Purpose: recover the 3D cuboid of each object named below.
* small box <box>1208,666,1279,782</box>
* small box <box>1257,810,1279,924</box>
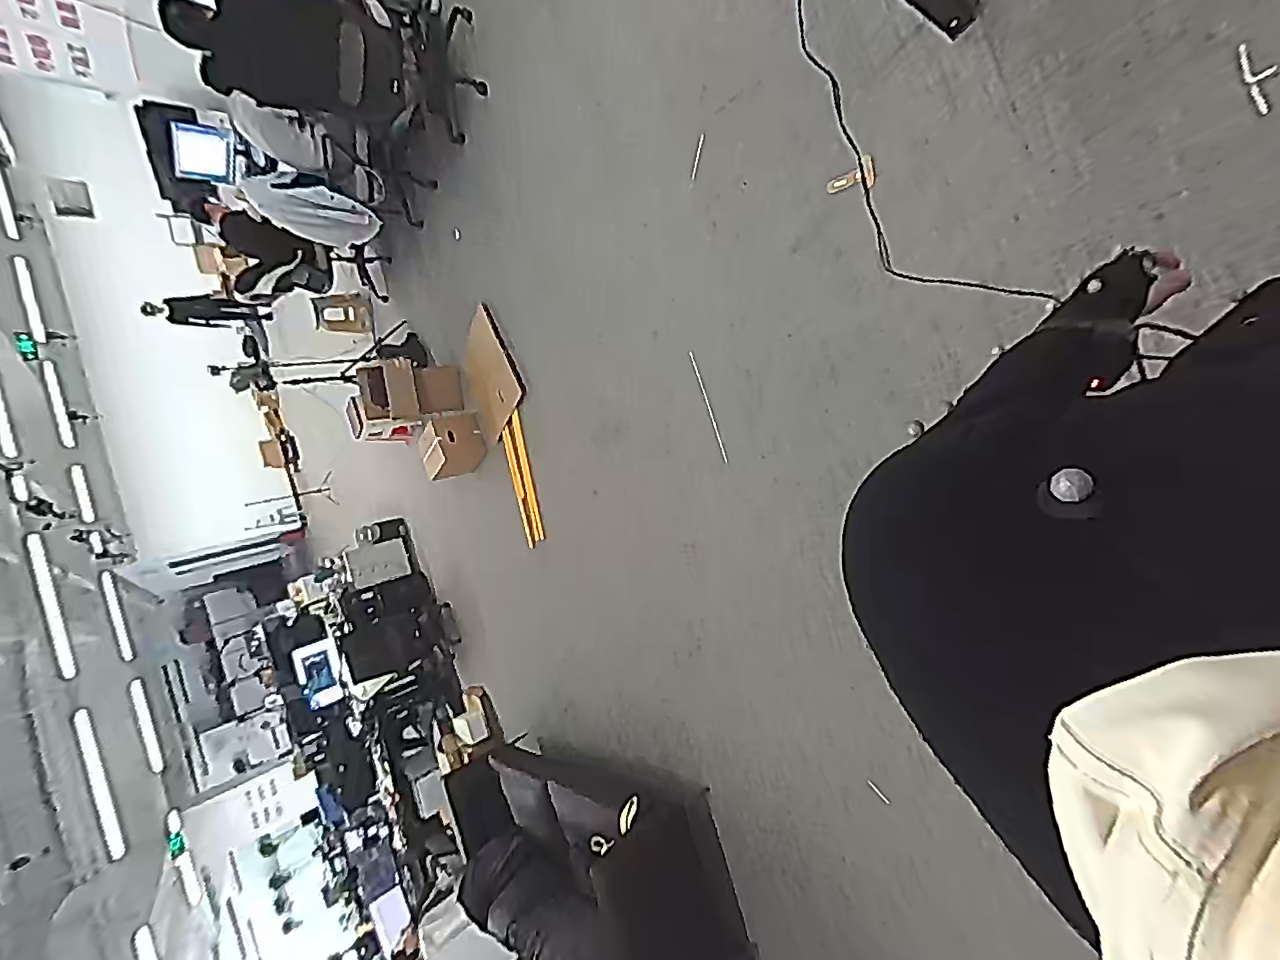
[{"bbox_3d":[1.305,0.491,1.095,0.179,0.176,0.168,-21,86,51],"label":"small box"},{"bbox_3d":[1.393,0.803,1.087,0.179,0.176,0.168,-20,86,51],"label":"small box"}]
